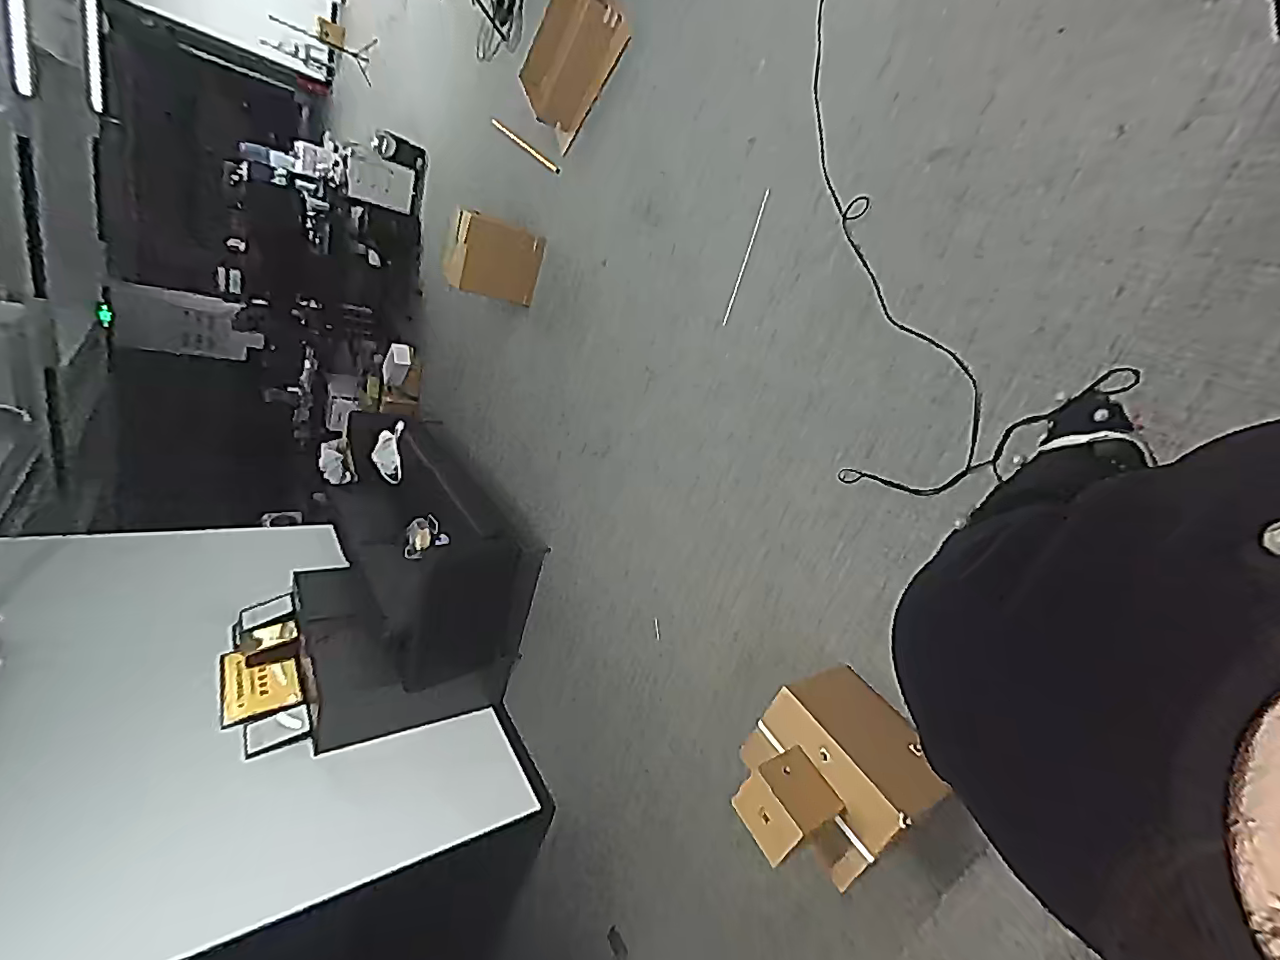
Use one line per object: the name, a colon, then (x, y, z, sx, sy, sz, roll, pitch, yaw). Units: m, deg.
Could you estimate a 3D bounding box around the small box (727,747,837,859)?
small box: (0.364, 0.817, 1.390, 0.179, 0.176, 0.168, 49, 129, 39)
